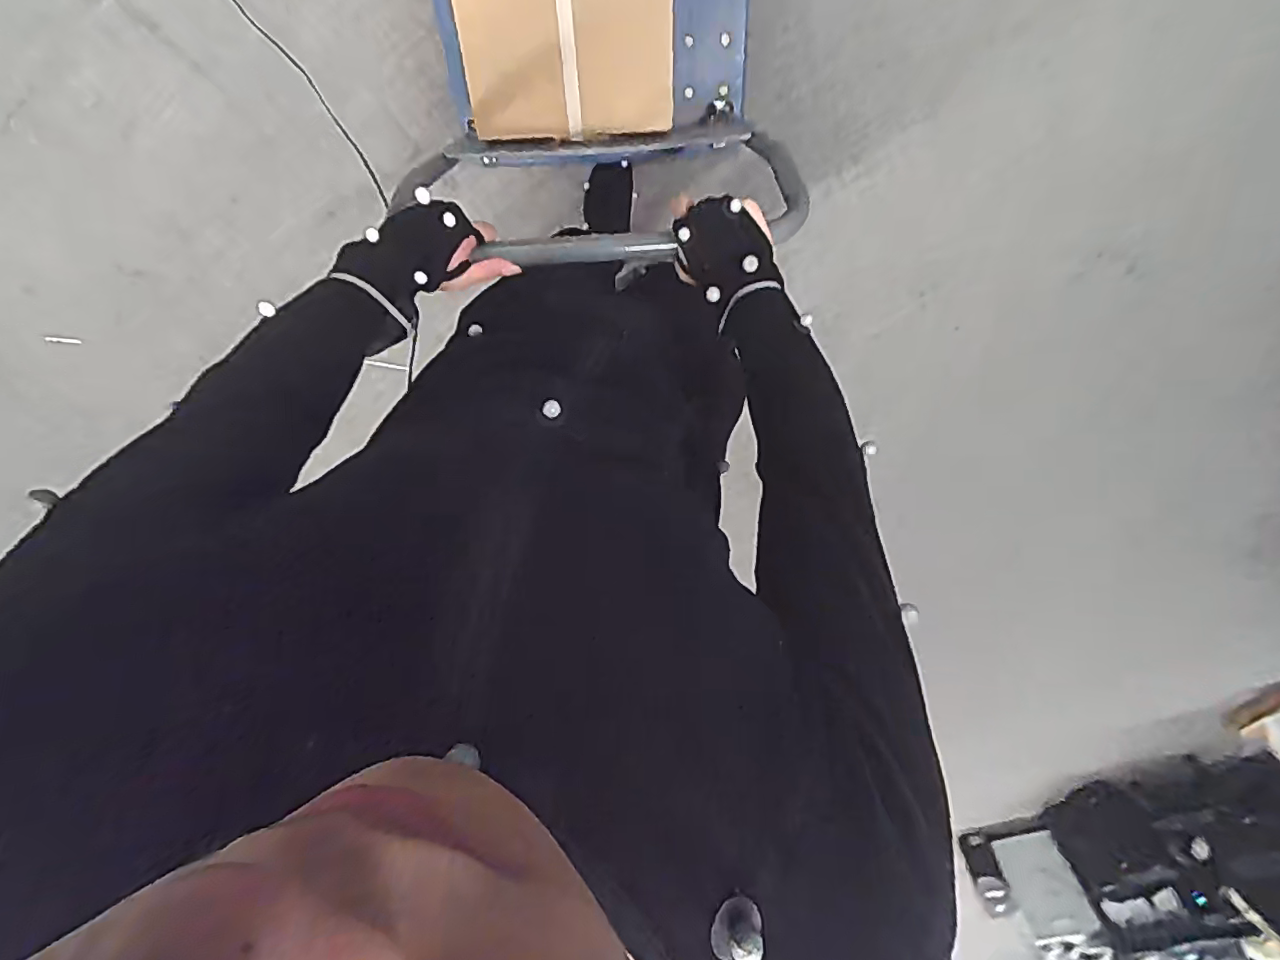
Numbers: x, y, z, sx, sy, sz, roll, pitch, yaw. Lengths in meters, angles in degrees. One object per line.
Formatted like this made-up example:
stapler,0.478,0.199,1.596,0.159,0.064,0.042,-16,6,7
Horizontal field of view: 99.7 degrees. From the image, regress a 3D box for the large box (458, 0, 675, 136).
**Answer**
large box,-0.111,-0.810,0.873,0.320,0.320,0.408,-3,126,0
